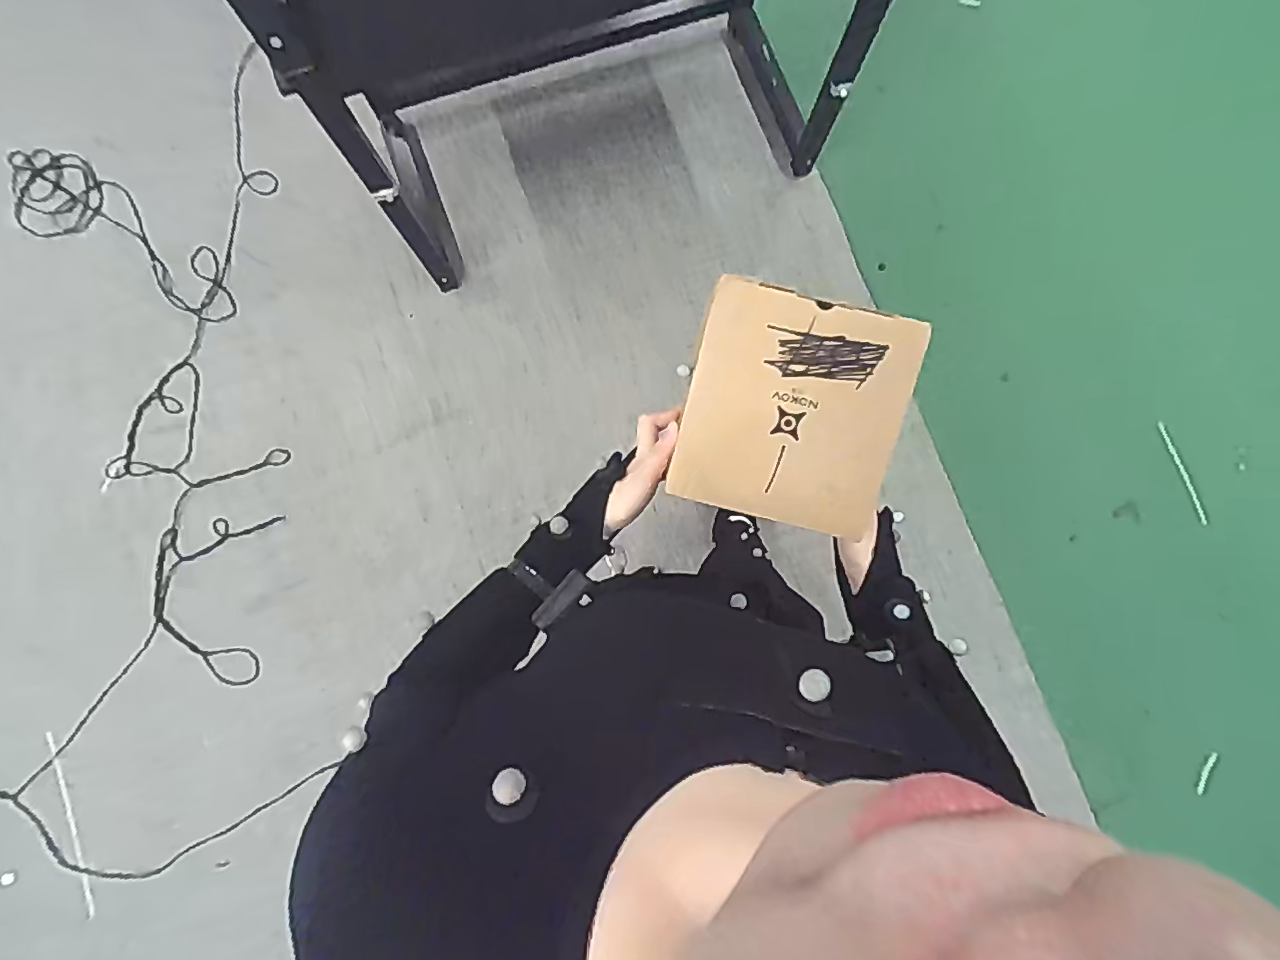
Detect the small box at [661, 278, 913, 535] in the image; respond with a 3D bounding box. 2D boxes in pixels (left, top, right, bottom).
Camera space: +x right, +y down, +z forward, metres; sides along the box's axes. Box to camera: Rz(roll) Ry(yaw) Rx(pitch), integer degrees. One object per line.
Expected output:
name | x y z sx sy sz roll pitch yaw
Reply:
small box | 0.118 -0.070 0.512 0.168 0.176 0.179 14 101 1
